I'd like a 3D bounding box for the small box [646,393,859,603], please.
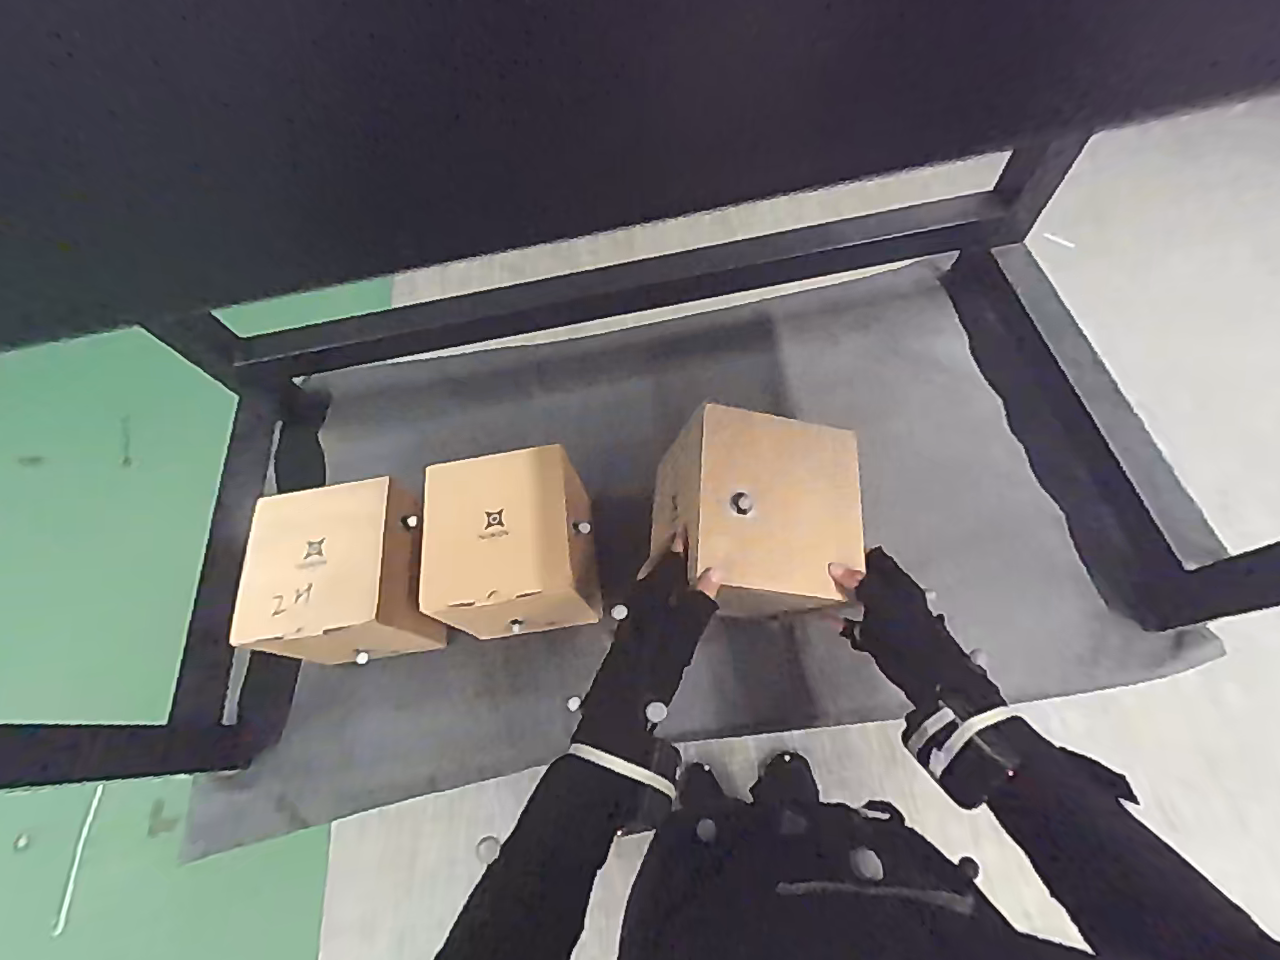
[{"bbox_3d":[0.112,0.032,0.572,0.176,0.168,0.179,10,70,-12],"label":"small box"}]
